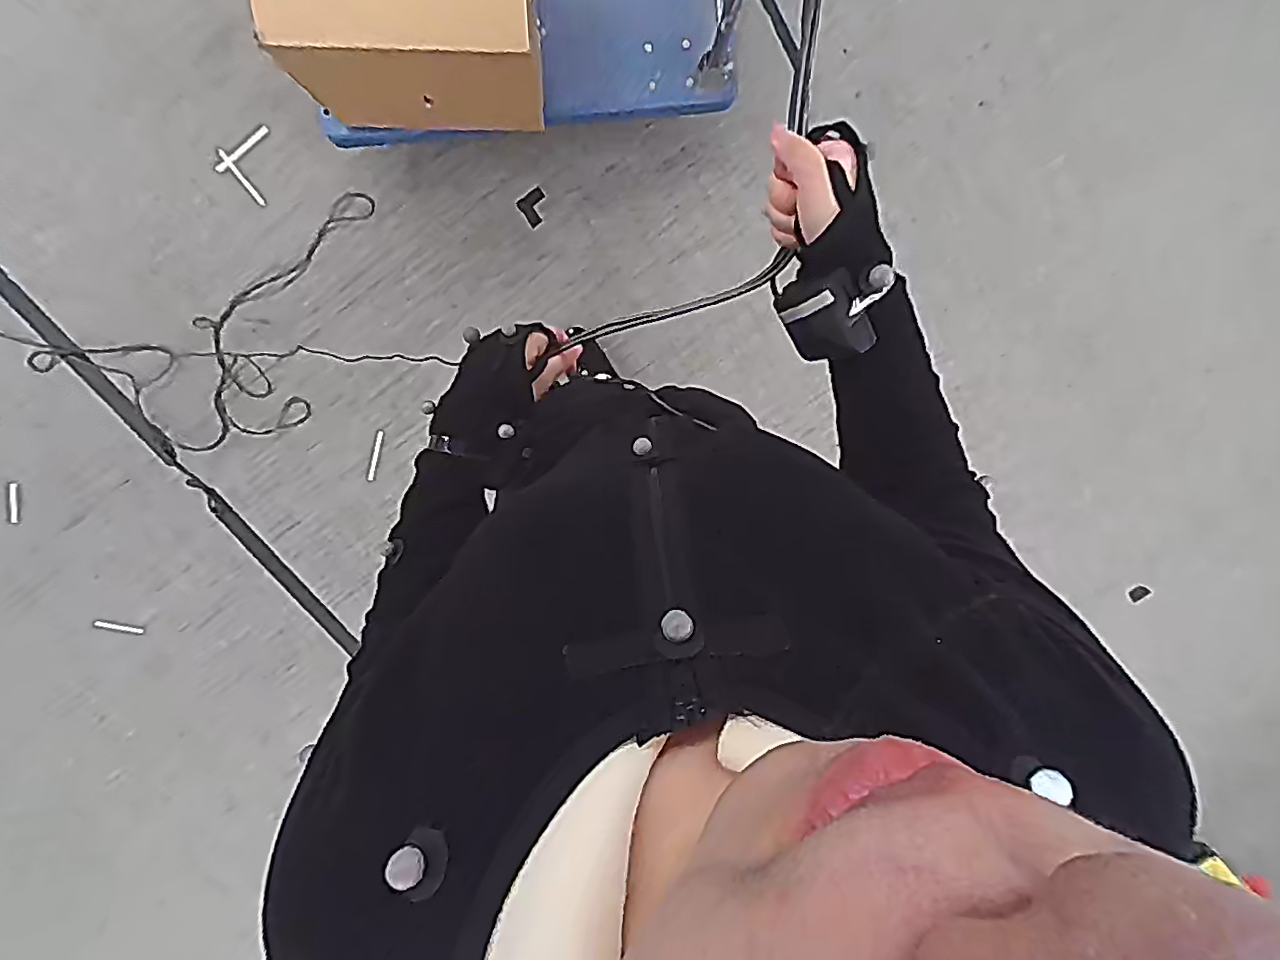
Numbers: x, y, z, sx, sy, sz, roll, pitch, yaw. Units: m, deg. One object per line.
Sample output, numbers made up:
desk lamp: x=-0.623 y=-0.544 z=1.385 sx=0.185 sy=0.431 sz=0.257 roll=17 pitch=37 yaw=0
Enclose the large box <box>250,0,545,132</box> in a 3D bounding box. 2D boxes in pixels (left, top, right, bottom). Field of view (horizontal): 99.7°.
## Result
large box: x=-0.388 y=-0.826 z=0.931 sx=0.408 sy=0.320 sz=0.320 roll=-2 pitch=102 yaw=-5
